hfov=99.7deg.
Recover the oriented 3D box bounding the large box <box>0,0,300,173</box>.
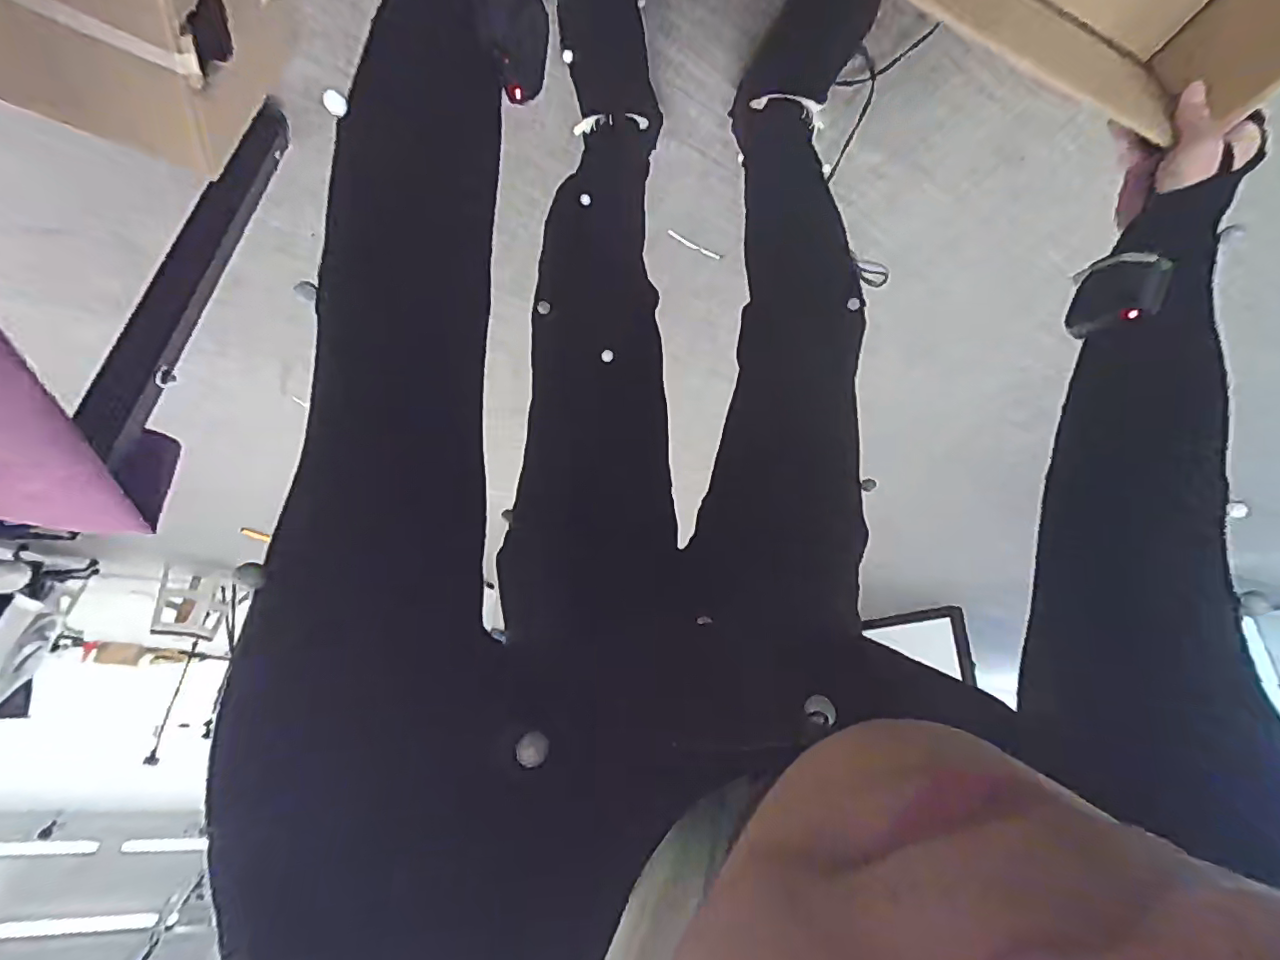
[{"bbox_3d":[-0.643,-0.630,0.568,0.408,0.320,0.320,16,151,-22],"label":"large box"}]
